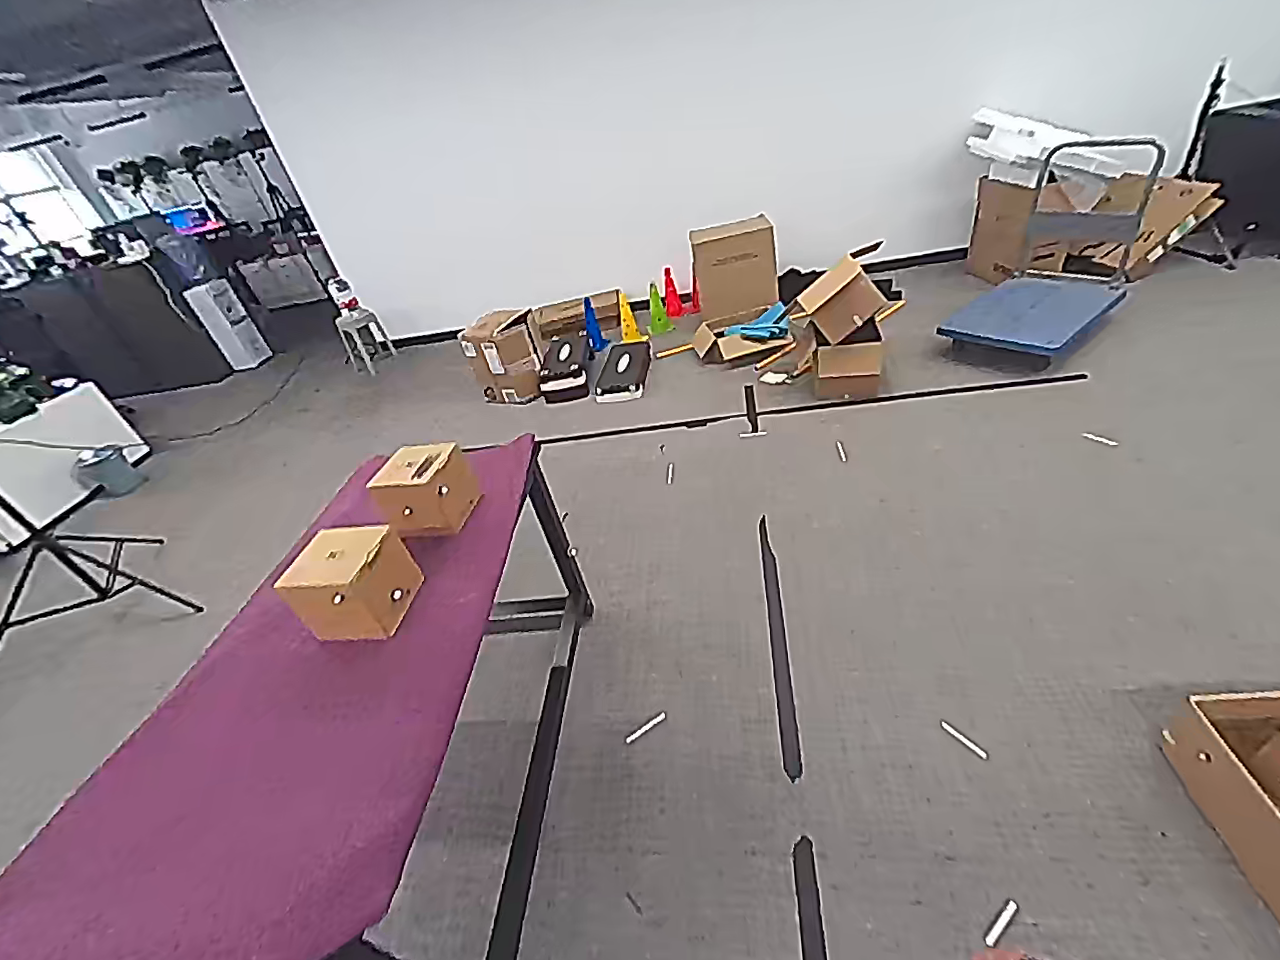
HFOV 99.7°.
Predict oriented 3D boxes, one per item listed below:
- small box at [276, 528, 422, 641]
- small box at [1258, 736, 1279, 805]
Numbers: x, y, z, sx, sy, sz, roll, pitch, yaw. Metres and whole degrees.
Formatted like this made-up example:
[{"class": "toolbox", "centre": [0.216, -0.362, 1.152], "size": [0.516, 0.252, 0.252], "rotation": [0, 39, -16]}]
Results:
[{"class": "small box", "centre": [-0.596, 0.220, 1.131], "size": [0.179, 0.176, 0.168], "rotation": [-5, 36, 11]}, {"class": "small box", "centre": [1.436, 0.631, 1.098], "size": [0.179, 0.176, 0.168], "rotation": [-7, 37, 8]}]
